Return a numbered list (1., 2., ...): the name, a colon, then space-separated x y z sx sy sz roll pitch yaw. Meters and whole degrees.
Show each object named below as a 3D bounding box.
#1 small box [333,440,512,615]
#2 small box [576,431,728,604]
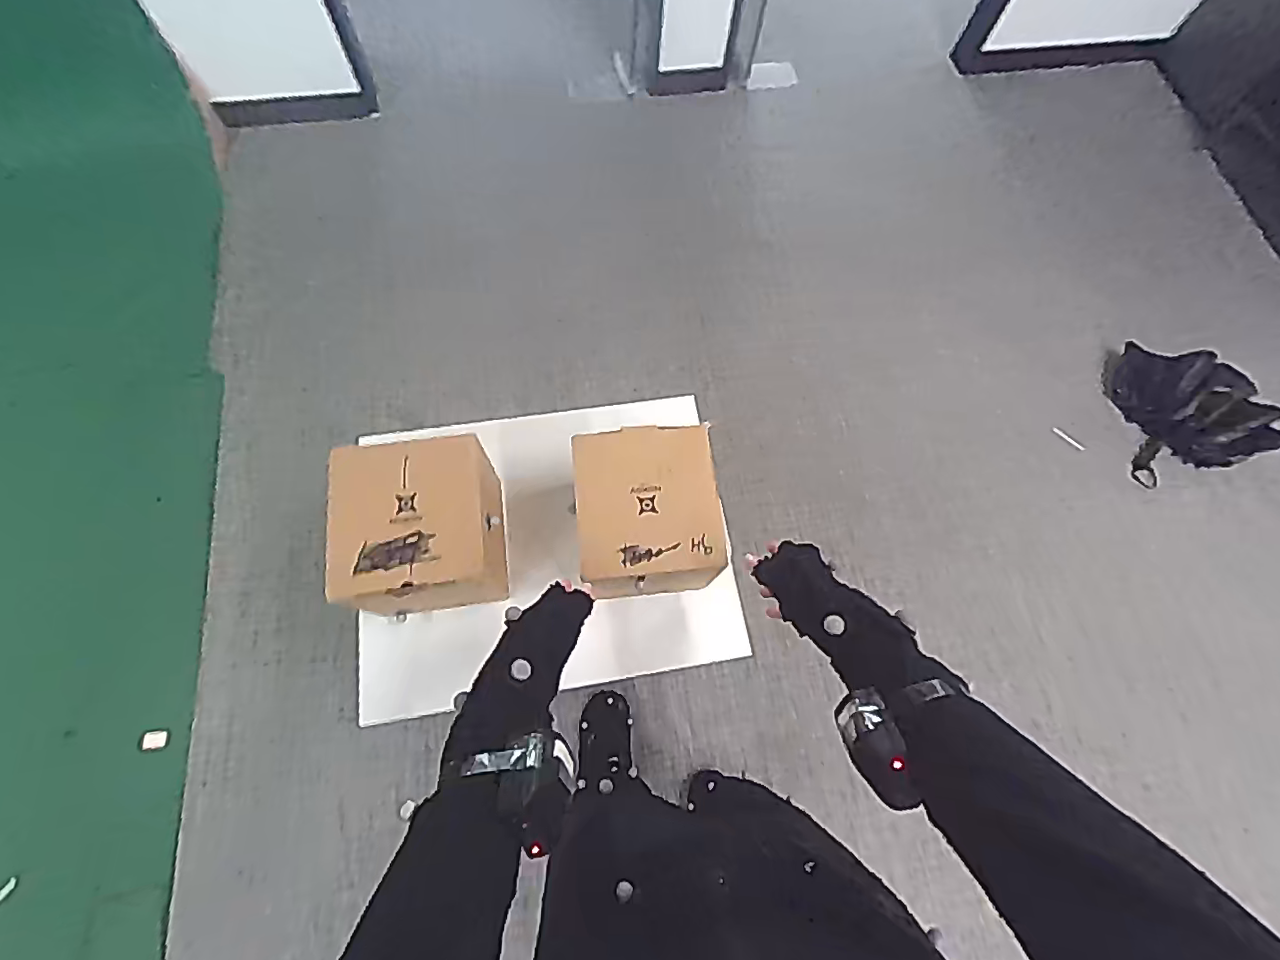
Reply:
1. small box: -0.261 0.070 0.682 0.168 0.176 0.179 -7 70 -6
2. small box: 0.007 0.055 0.701 0.168 0.176 0.179 -5 70 -4
